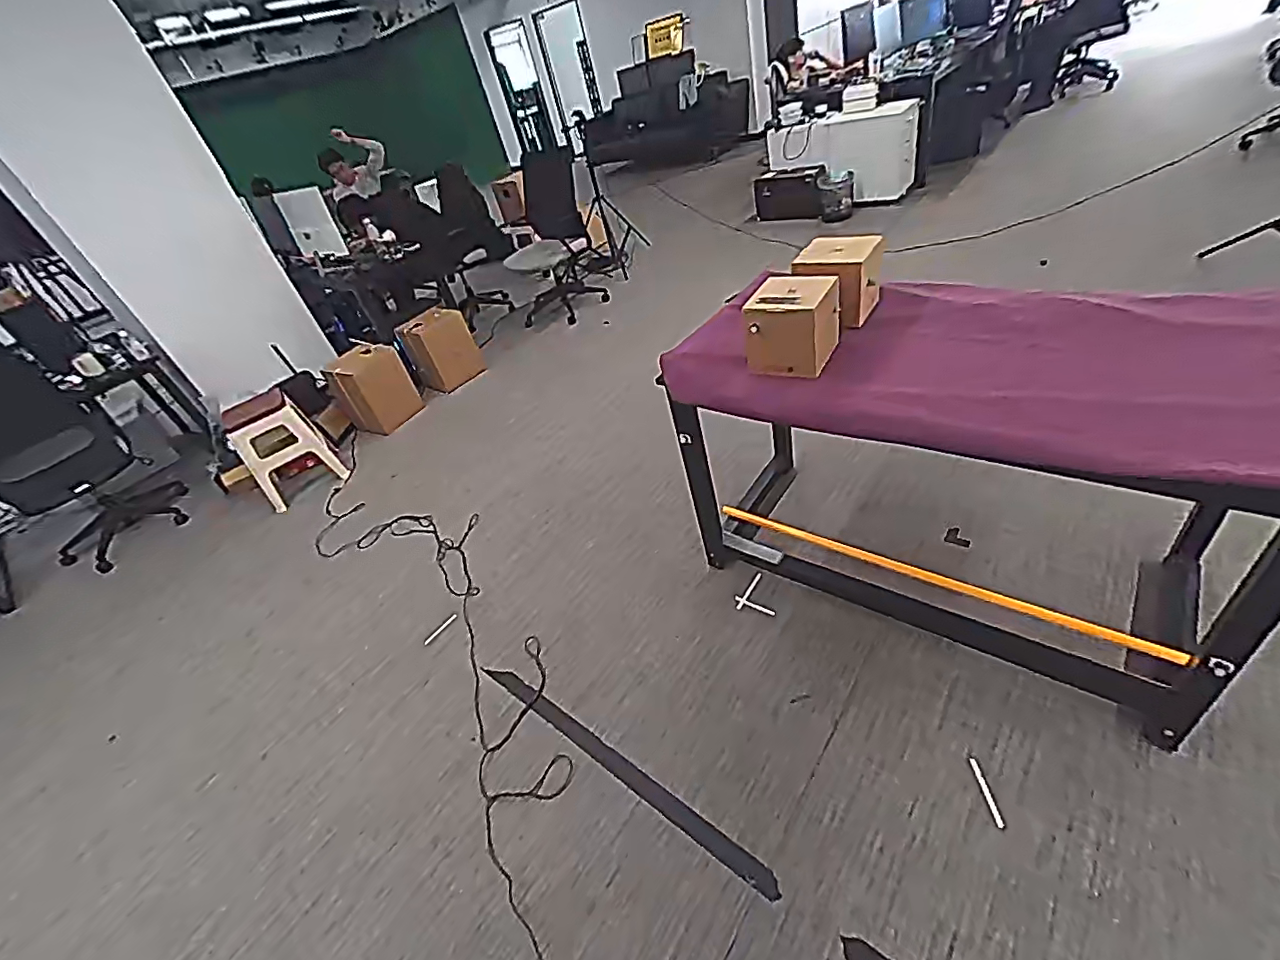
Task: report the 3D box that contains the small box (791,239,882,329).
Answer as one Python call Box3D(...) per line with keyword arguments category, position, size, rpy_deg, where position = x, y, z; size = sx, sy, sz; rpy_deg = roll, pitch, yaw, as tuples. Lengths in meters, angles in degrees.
Box3D(category="small box", position=(0.505, -0.502, 1.389), size=(0.179, 0.176, 0.168), rpy_deg=(15, 48, 34))
